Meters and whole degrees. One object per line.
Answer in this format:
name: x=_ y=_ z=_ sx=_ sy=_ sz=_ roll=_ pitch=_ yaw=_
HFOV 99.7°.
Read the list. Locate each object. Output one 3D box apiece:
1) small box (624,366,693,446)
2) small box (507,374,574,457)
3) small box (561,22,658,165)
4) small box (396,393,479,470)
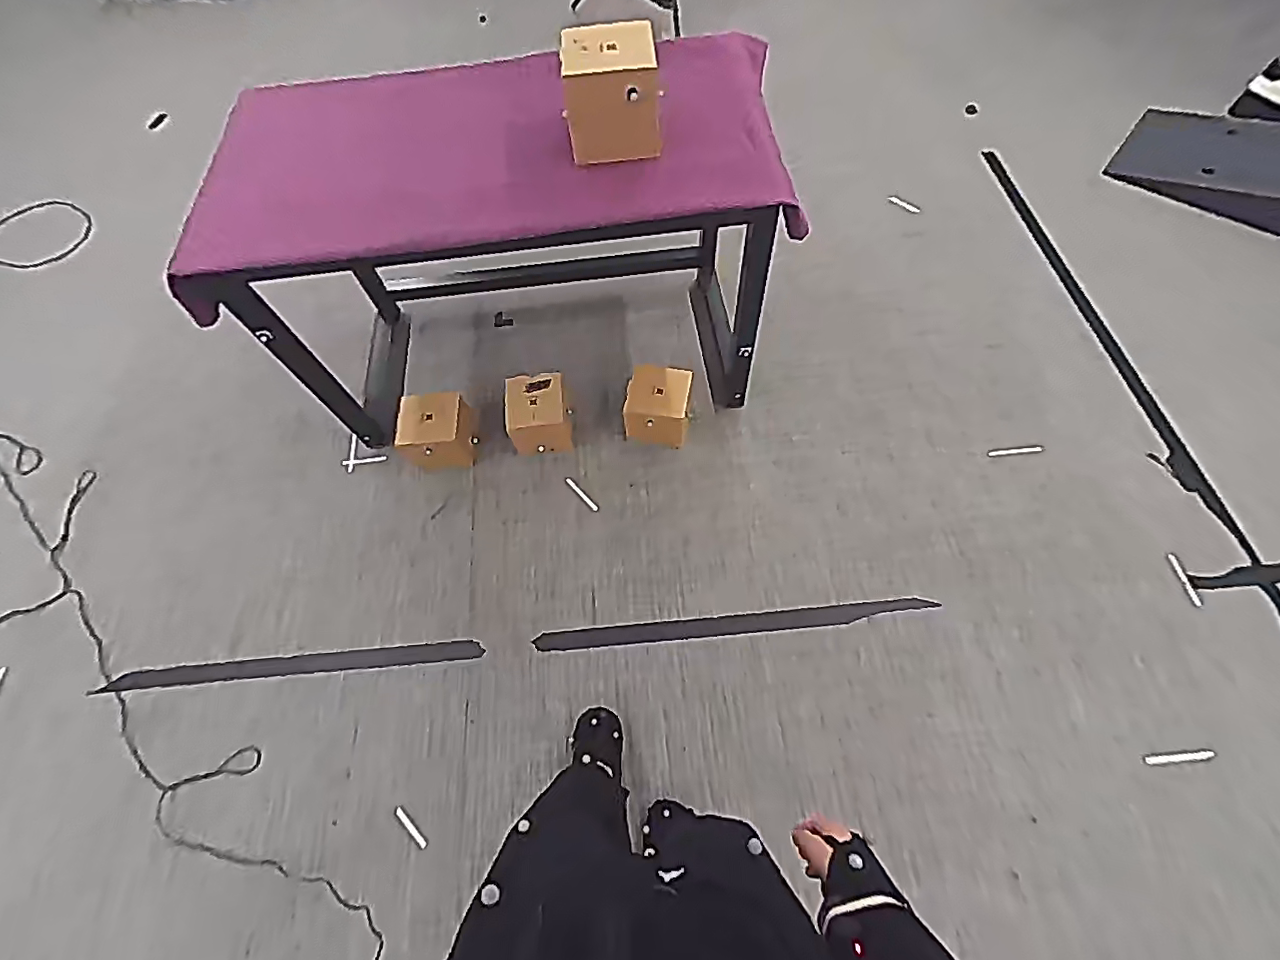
small box: x=0.060 y=-0.215 z=1.609 sx=0.179 sy=0.176 sz=0.168 roll=8 pitch=65 yaw=9
small box: x=-0.296 y=-0.189 z=1.619 sx=0.168 sy=0.176 sz=0.179 roll=-7 pitch=64 yaw=0
small box: x=-0.055 y=-0.756 z=1.068 sx=0.179 sy=0.176 sz=0.168 roll=-5 pitch=63 yaw=2
small box: x=-0.597 y=-0.139 z=1.616 sx=0.179 sy=0.176 sz=0.168 roll=-5 pitch=65 yaw=0
